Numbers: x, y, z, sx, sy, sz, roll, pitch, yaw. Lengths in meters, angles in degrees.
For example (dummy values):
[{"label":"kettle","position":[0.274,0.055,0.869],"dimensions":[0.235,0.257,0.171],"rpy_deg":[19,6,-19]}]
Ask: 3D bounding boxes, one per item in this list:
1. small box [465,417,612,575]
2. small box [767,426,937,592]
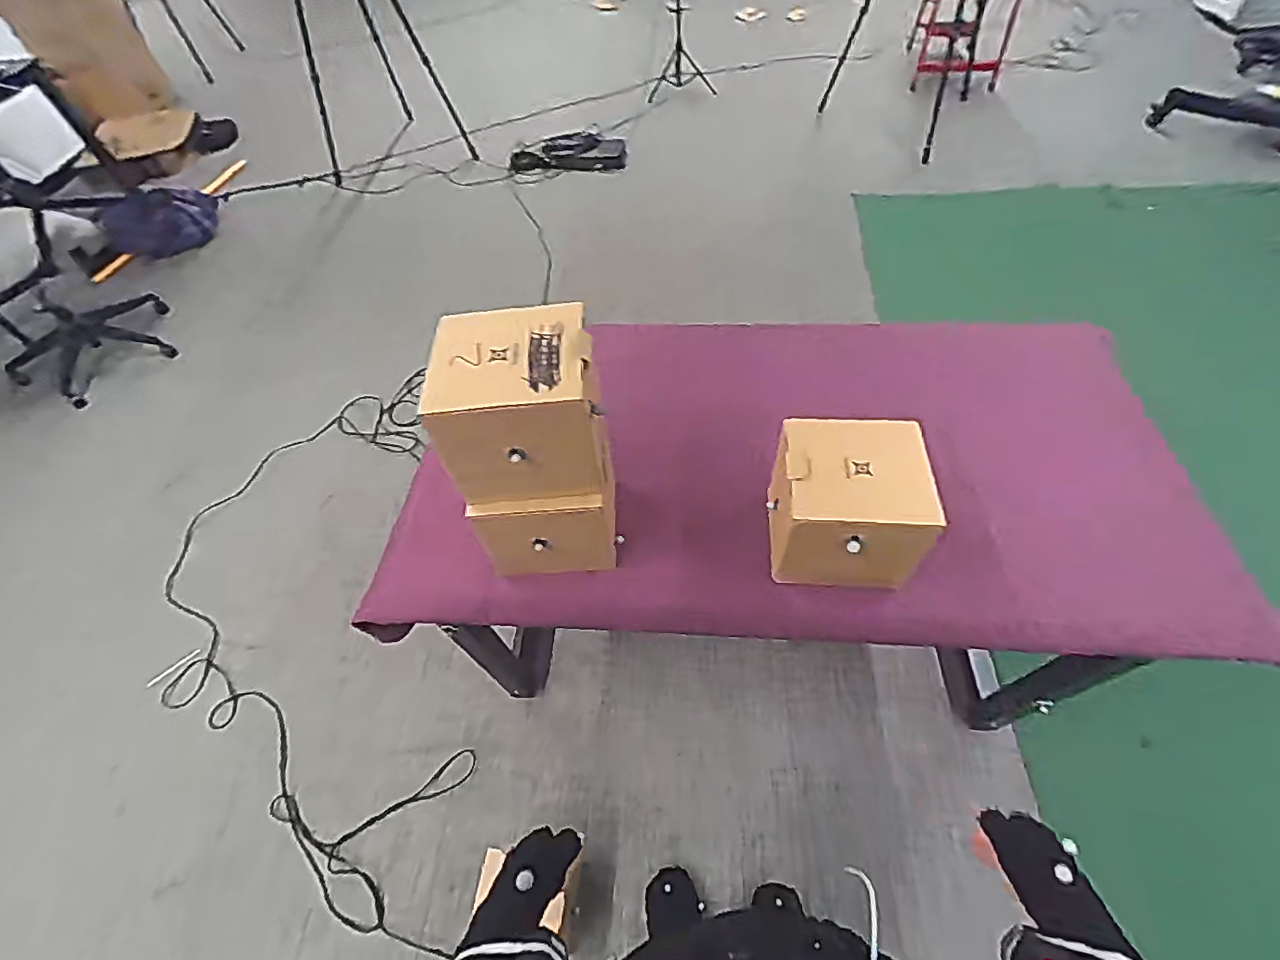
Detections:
[{"label":"small box","position":[-0.133,0.028,0.788],"dimensions":[0.179,0.176,0.168],"rpy_deg":[-3,54,1]},{"label":"small box","position":[0.276,0.044,0.751],"dimensions":[0.179,0.176,0.168],"rpy_deg":[2,54,7]}]
